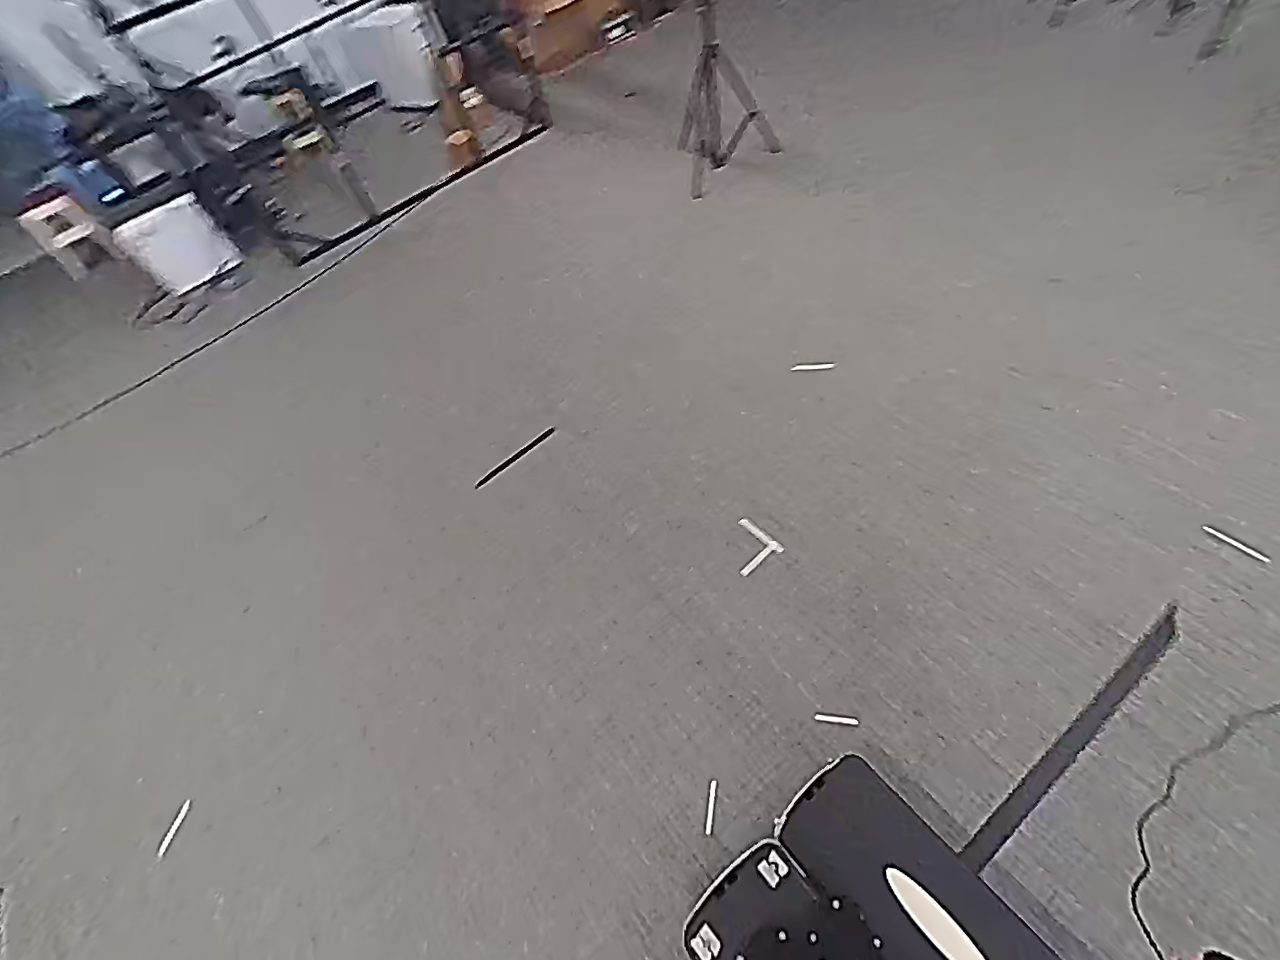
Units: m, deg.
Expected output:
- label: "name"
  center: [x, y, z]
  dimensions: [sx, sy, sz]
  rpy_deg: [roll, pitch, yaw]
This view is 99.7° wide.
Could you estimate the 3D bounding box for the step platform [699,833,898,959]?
- label: "step platform"
  center: [0.430, 1.071, 1.039]
  dimensions: [0.286, 0.204, 0.684]
  rpy_deg: [-39, 55, -15]
